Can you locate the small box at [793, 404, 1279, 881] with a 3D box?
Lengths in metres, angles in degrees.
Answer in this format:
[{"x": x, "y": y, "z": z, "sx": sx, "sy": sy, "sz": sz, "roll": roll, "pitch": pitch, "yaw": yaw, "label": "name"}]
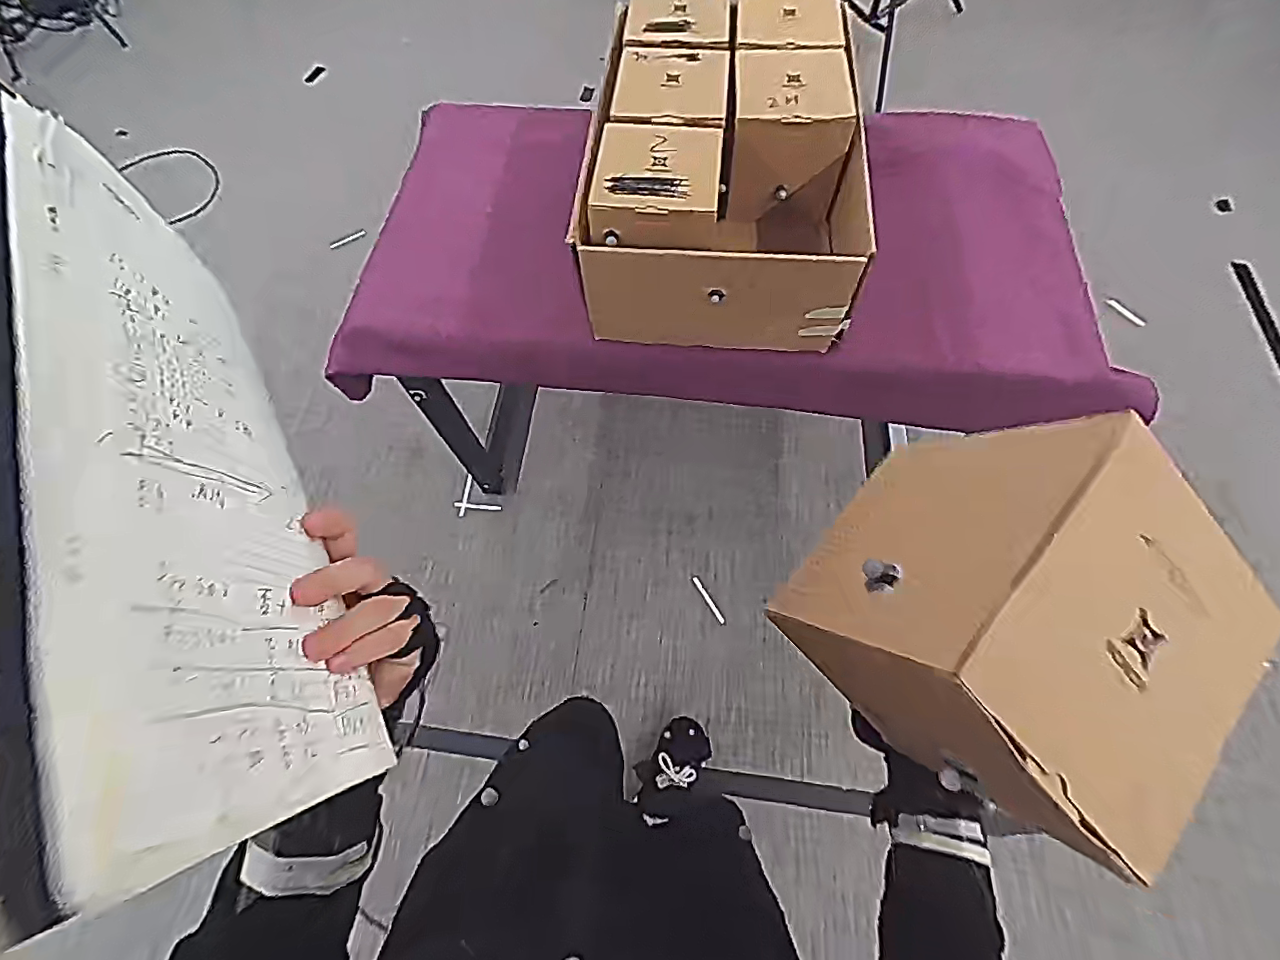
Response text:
[{"x": 0.226, "y": 0.082, "z": 0.343, "sx": 0.168, "sy": 0.176, "sz": 0.179, "roll": 46, "pitch": 75, "yaw": -10, "label": "small box"}]
